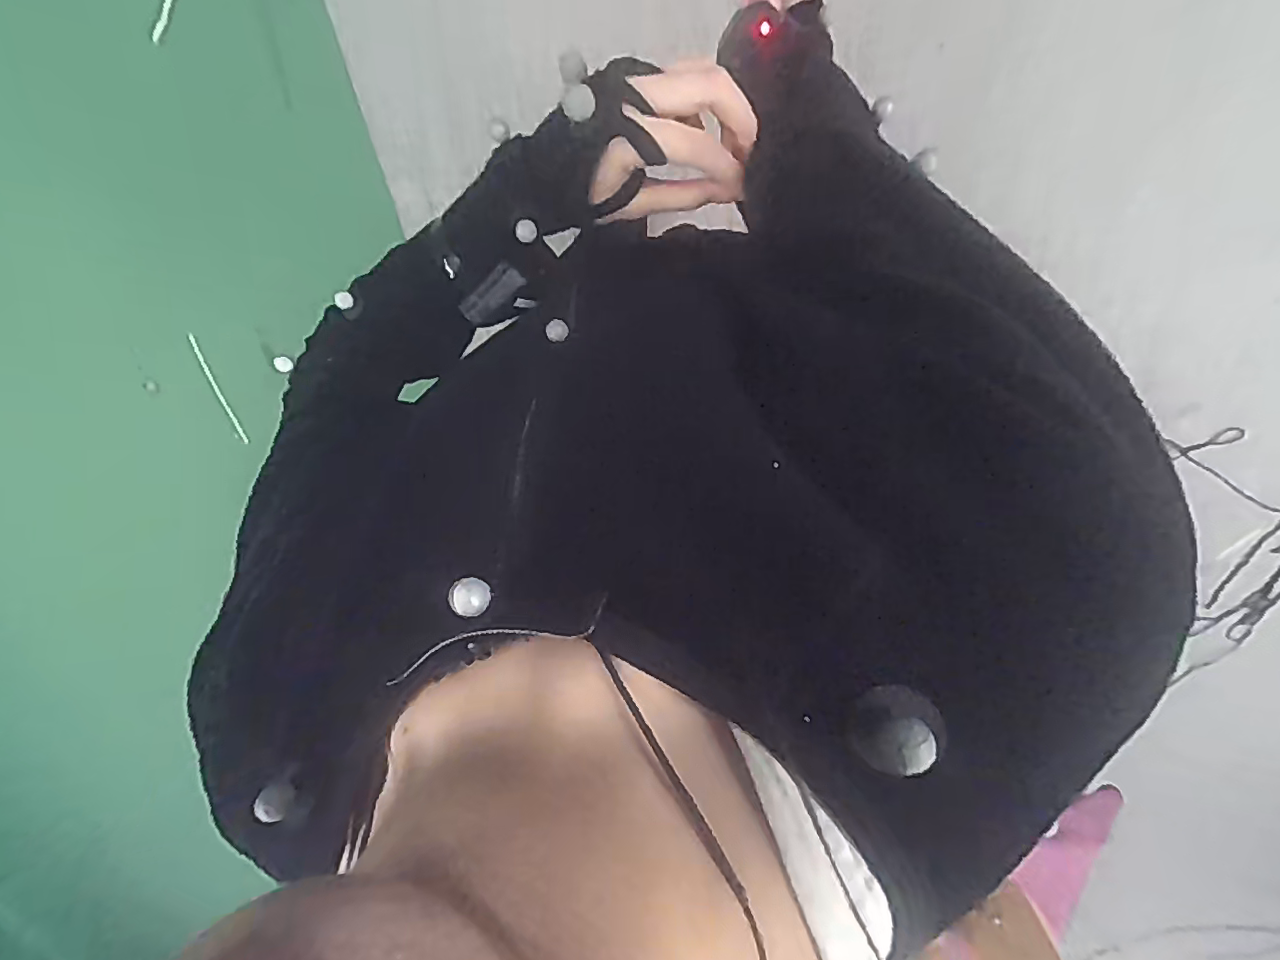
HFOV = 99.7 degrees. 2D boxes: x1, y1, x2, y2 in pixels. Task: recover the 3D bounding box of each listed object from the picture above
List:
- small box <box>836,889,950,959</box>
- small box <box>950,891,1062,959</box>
[{"bbox_3d":[0.548,1.032,1.183,0.168,0.176,0.179,3,117,-2],"label":"small box"},{"bbox_3d":[0.826,1.052,1.188,0.168,0.176,0.179,-33,111,15],"label":"small box"}]
